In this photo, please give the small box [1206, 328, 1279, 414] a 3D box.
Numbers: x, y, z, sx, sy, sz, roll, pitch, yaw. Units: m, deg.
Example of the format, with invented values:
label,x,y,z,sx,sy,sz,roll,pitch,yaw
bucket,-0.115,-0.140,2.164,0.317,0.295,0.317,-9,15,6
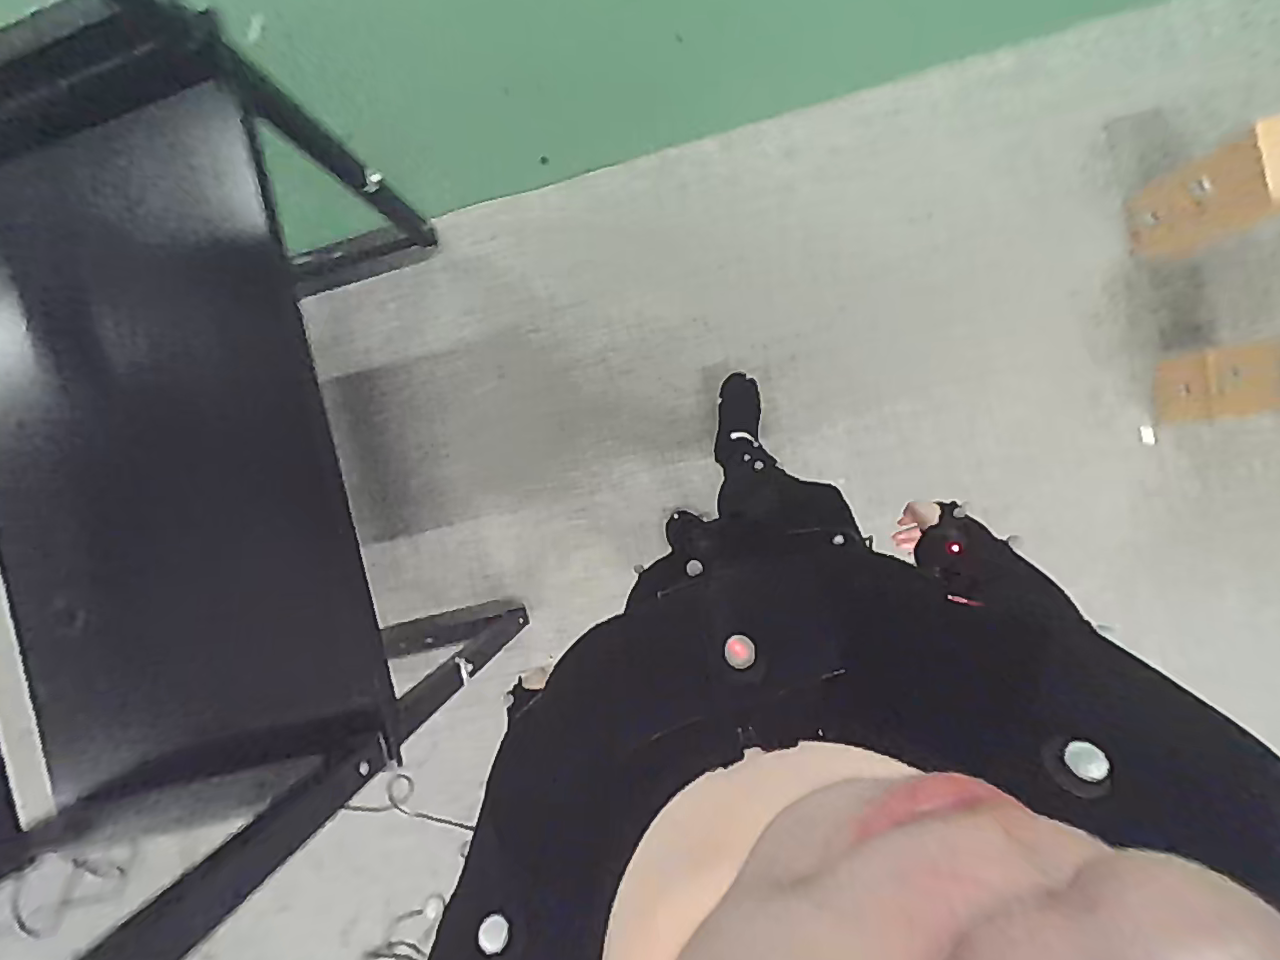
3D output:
label,x,y,z,sx,sy,sz,roll,pitch,yaw
small box,1.355,-0.231,1.127,0.179,0.176,0.168,-5,91,7
